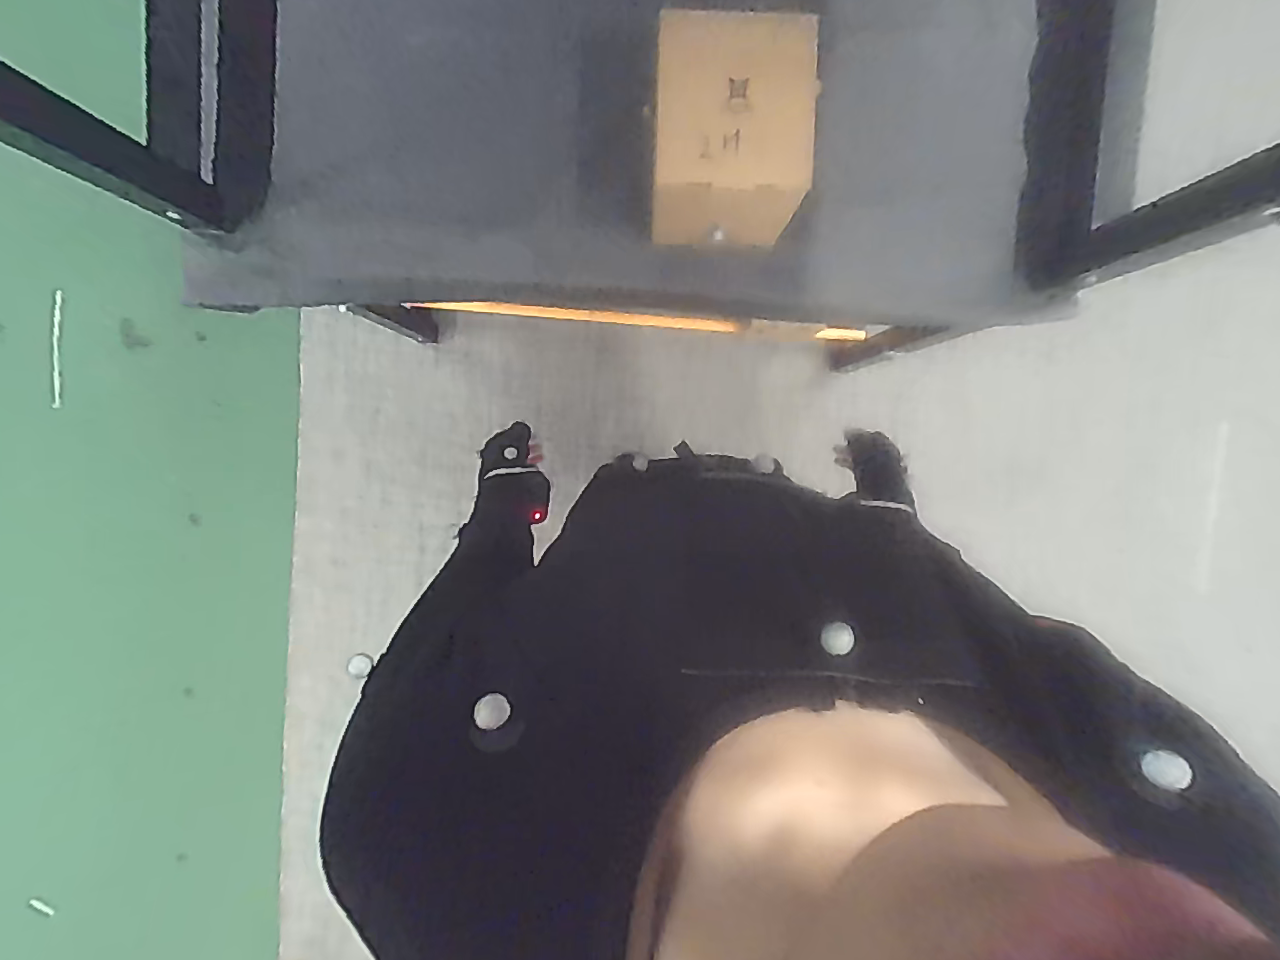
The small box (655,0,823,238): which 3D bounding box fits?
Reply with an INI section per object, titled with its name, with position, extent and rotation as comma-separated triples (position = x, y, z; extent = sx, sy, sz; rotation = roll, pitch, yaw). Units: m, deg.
[small box]
position = 0.104, -0.412, 0.640
extent = 0.168, 0.176, 0.179
rotation = 2, 93, 0
